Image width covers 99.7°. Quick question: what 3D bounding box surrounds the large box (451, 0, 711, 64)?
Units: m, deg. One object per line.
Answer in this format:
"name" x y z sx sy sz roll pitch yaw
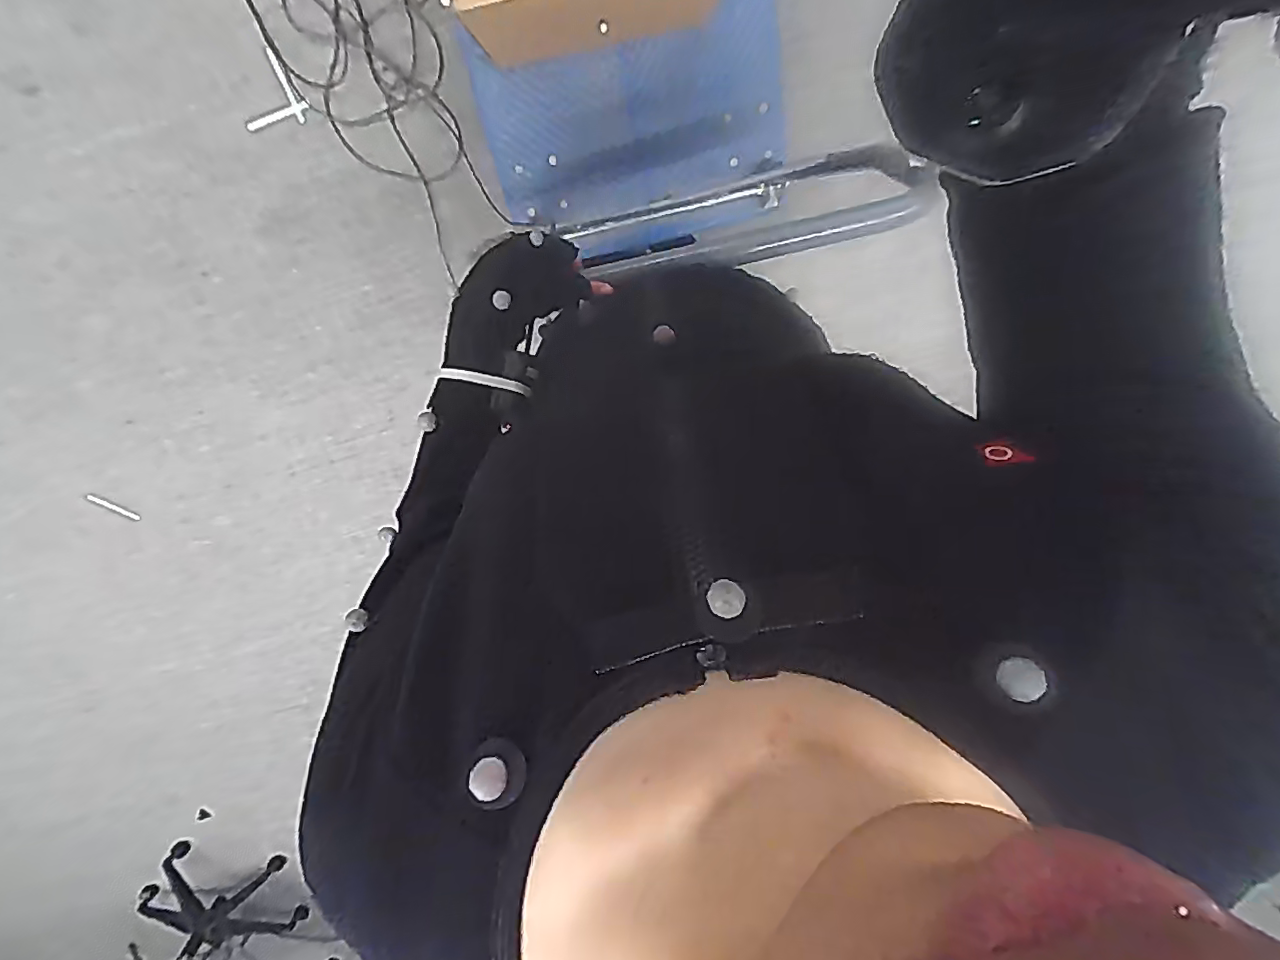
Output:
"large box" -0.095 -0.881 0.800 0.408 0.320 0.320 -11 115 4
